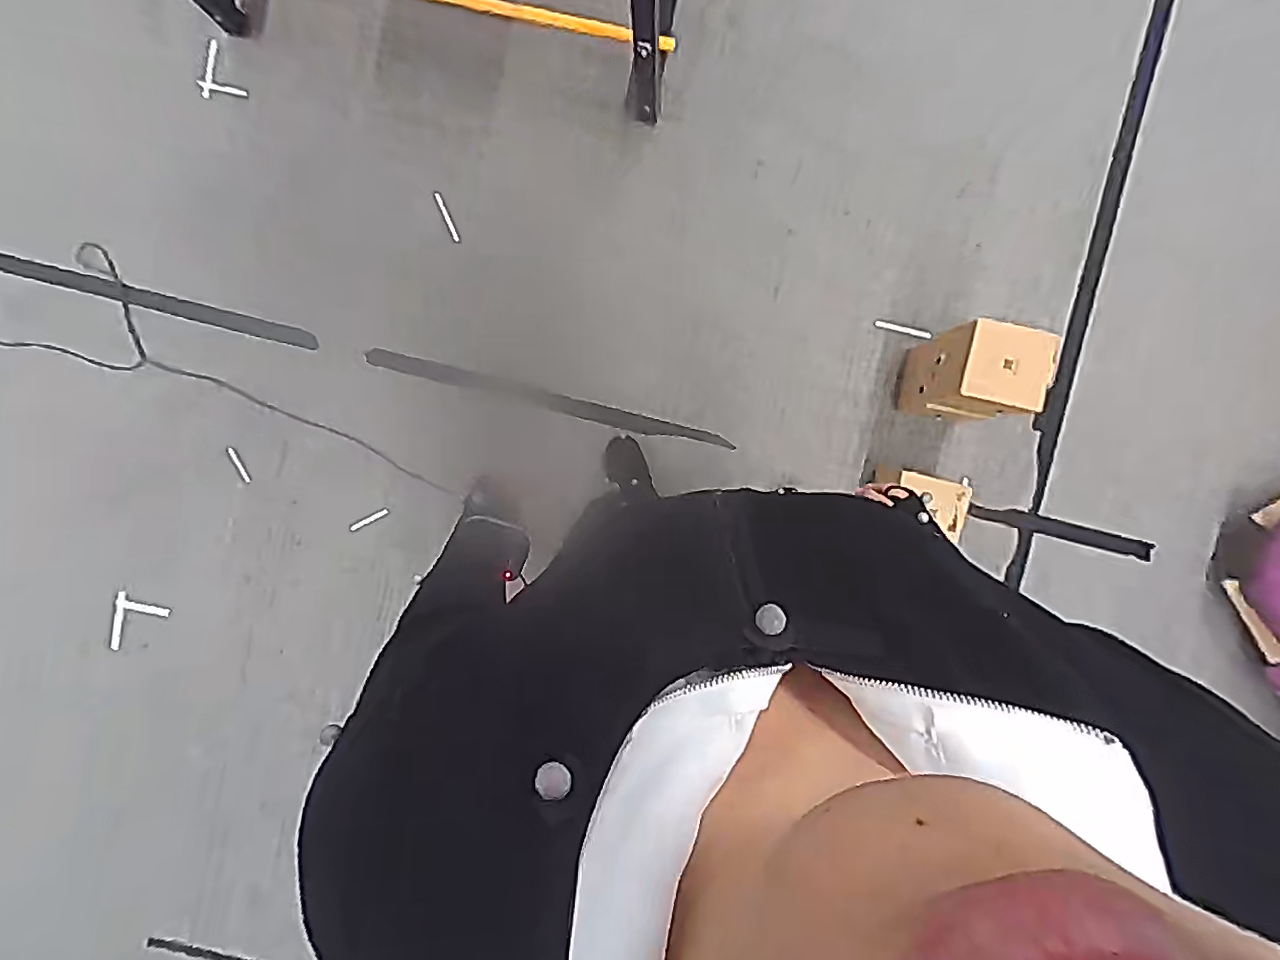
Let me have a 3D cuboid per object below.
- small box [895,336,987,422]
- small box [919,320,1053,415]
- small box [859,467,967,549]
[{"bbox_3d":[0.778,-0.250,1.382,0.168,0.176,0.179,12,93,0],"label":"small box"},{"bbox_3d":[0.769,-0.245,1.220,0.179,0.176,0.168,12,92,2],"label":"small box"},{"bbox_3d":[0.697,0.066,1.404,0.179,0.176,0.168,15,94,1],"label":"small box"}]
